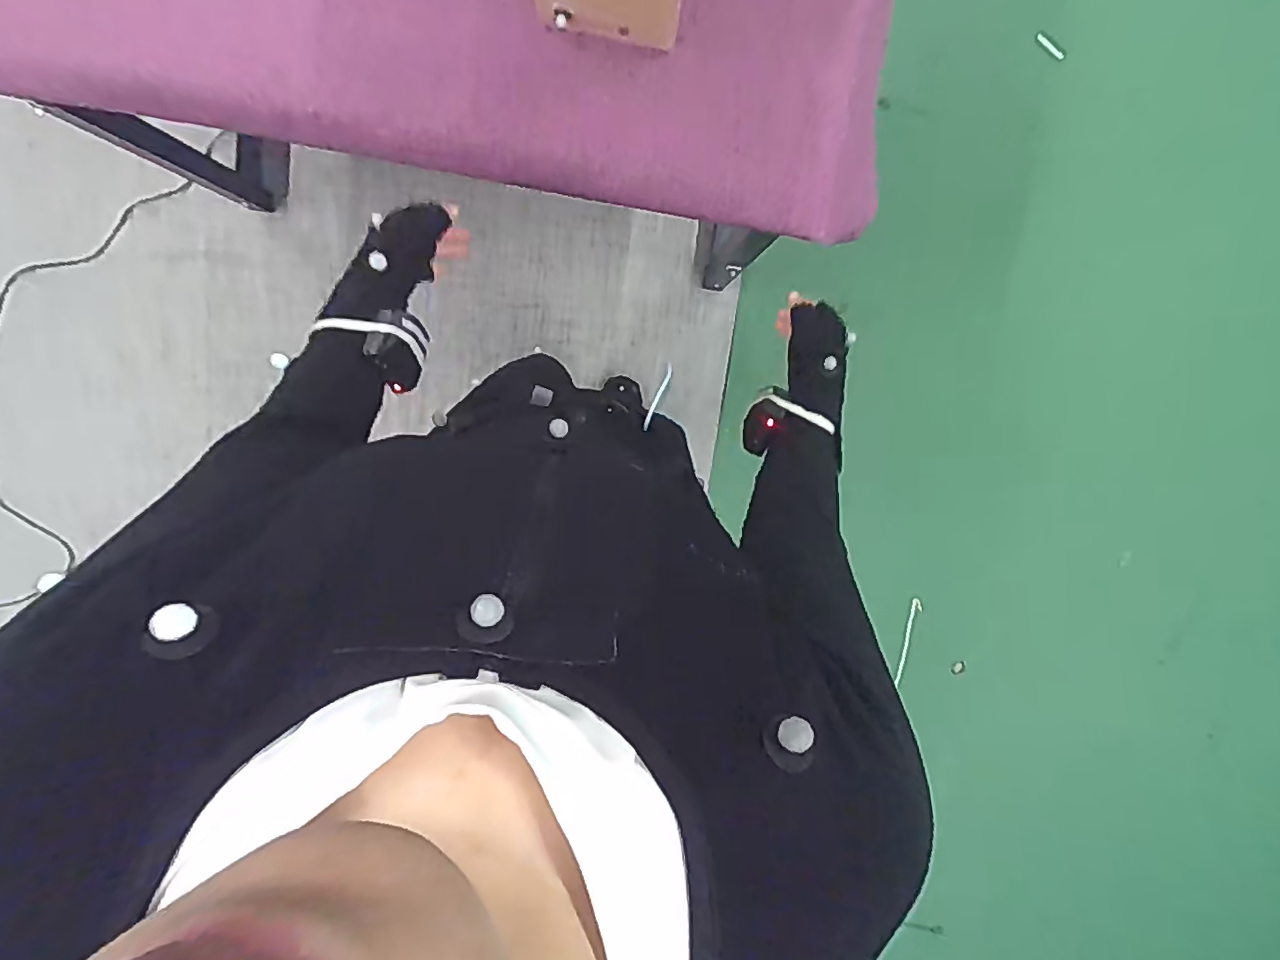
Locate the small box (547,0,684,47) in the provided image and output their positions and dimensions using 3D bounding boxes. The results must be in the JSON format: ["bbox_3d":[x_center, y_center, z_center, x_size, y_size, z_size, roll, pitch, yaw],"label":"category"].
[{"bbox_3d":[-0.018,-0.594,0.547,0.168,0.176,0.179,12,100,-7],"label":"small box"}]
